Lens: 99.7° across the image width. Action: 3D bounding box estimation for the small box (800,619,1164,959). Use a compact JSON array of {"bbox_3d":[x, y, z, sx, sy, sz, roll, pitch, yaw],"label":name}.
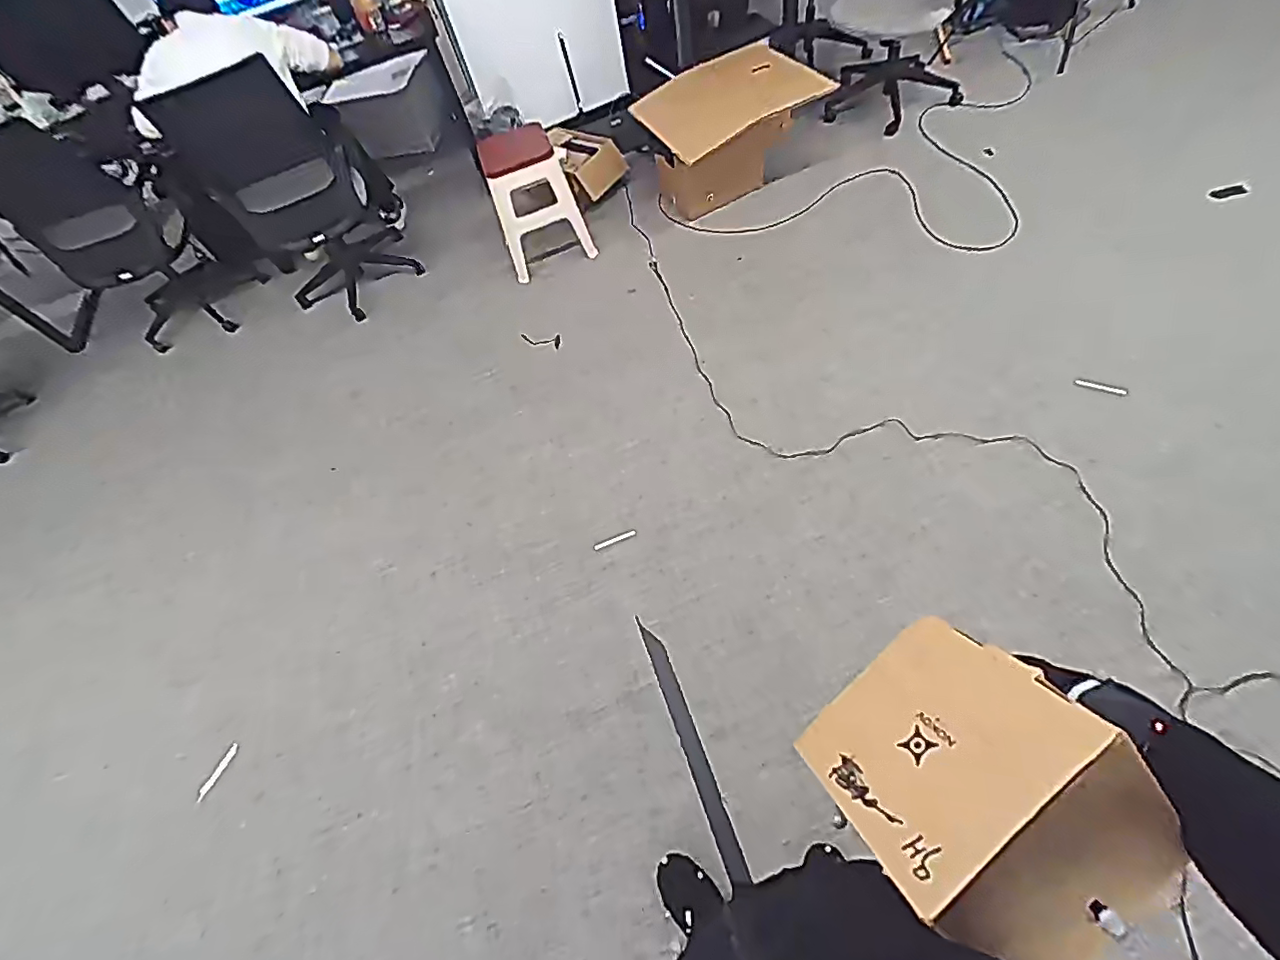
[{"bbox_3d":[0.278,0.261,0.452,0.179,0.176,0.168,-43,19,-1],"label":"small box"}]
